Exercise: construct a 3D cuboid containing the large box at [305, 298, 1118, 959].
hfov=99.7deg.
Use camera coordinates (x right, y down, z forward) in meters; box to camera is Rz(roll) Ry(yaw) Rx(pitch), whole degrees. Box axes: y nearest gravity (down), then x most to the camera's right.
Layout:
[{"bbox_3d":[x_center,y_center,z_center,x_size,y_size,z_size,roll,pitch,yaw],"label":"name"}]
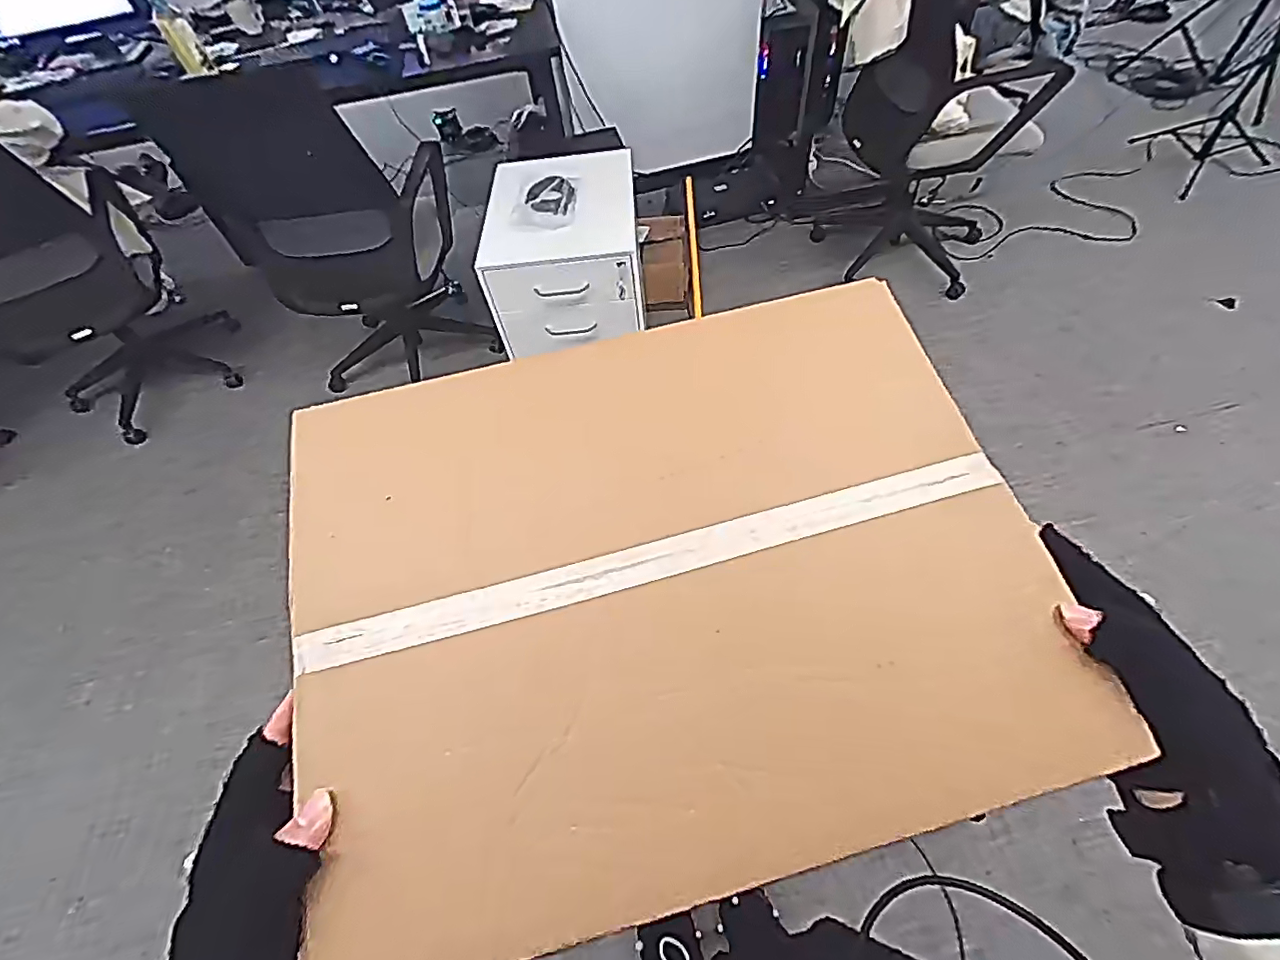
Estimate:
[{"bbox_3d":[0.018,0.113,0.448,0.408,0.320,0.320,-15,66,-4],"label":"large box"}]
